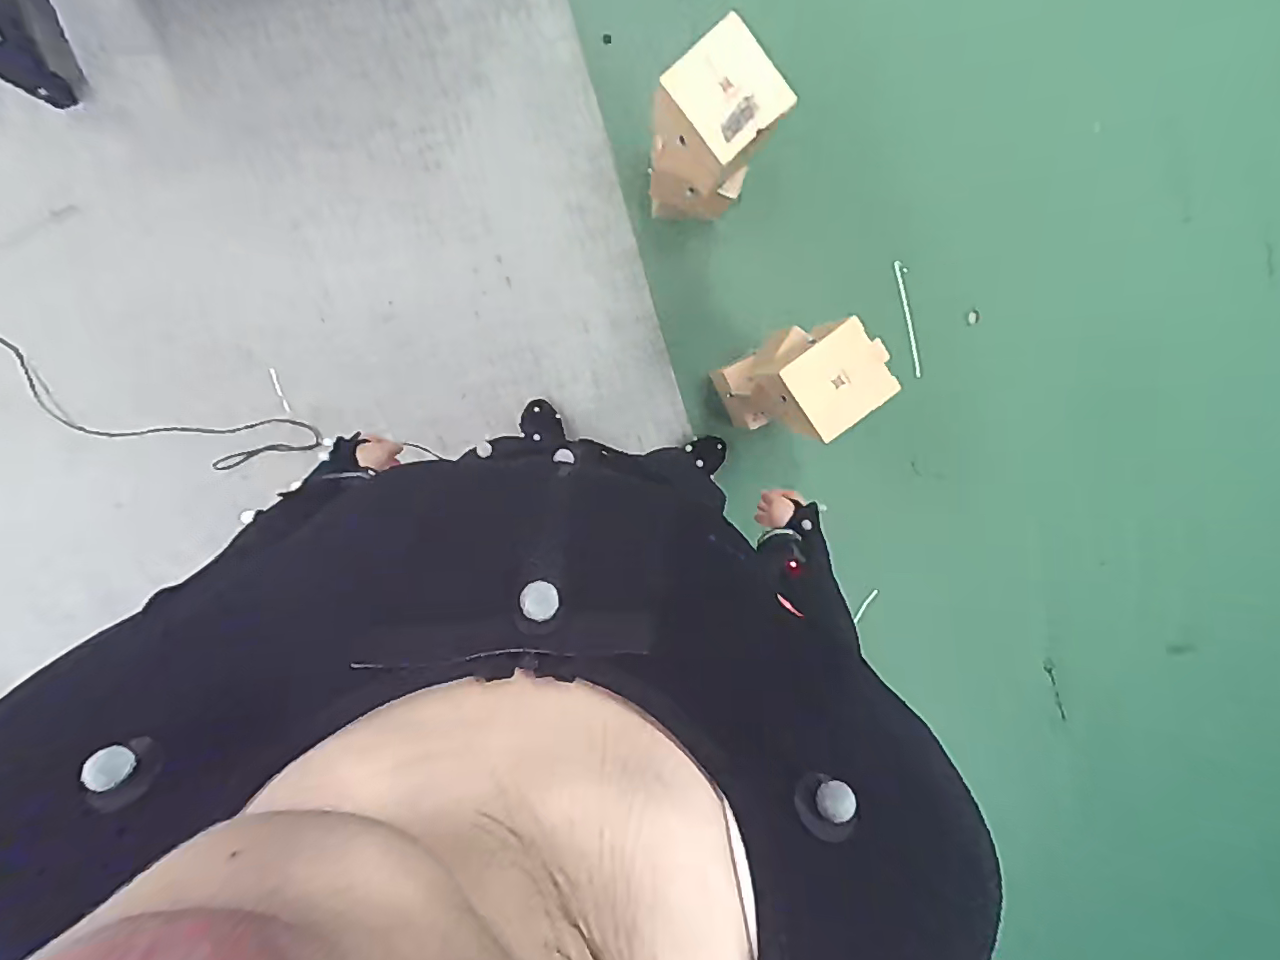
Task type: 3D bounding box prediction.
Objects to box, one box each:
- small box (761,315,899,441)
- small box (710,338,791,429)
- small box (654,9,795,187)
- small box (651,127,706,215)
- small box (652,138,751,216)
[{"bbox_3d":[0.358,-0.197,1.065,0.179,0.176,0.168,-37,101,3],"label":"small box"},{"bbox_3d":[0.302,-0.247,1.385,0.179,0.176,0.168,-27,101,0],"label":"small box"},{"bbox_3d":[0.141,-0.662,0.970,0.168,0.176,0.179,-40,99,4],"label":"small box"},{"bbox_3d":[0.118,-0.742,1.287,0.179,0.176,0.168,-1,101,-4],"label":"small box"},{"bbox_3d":[0.133,-0.682,1.133,0.179,0.176,0.168,19,99,-8],"label":"small box"}]
